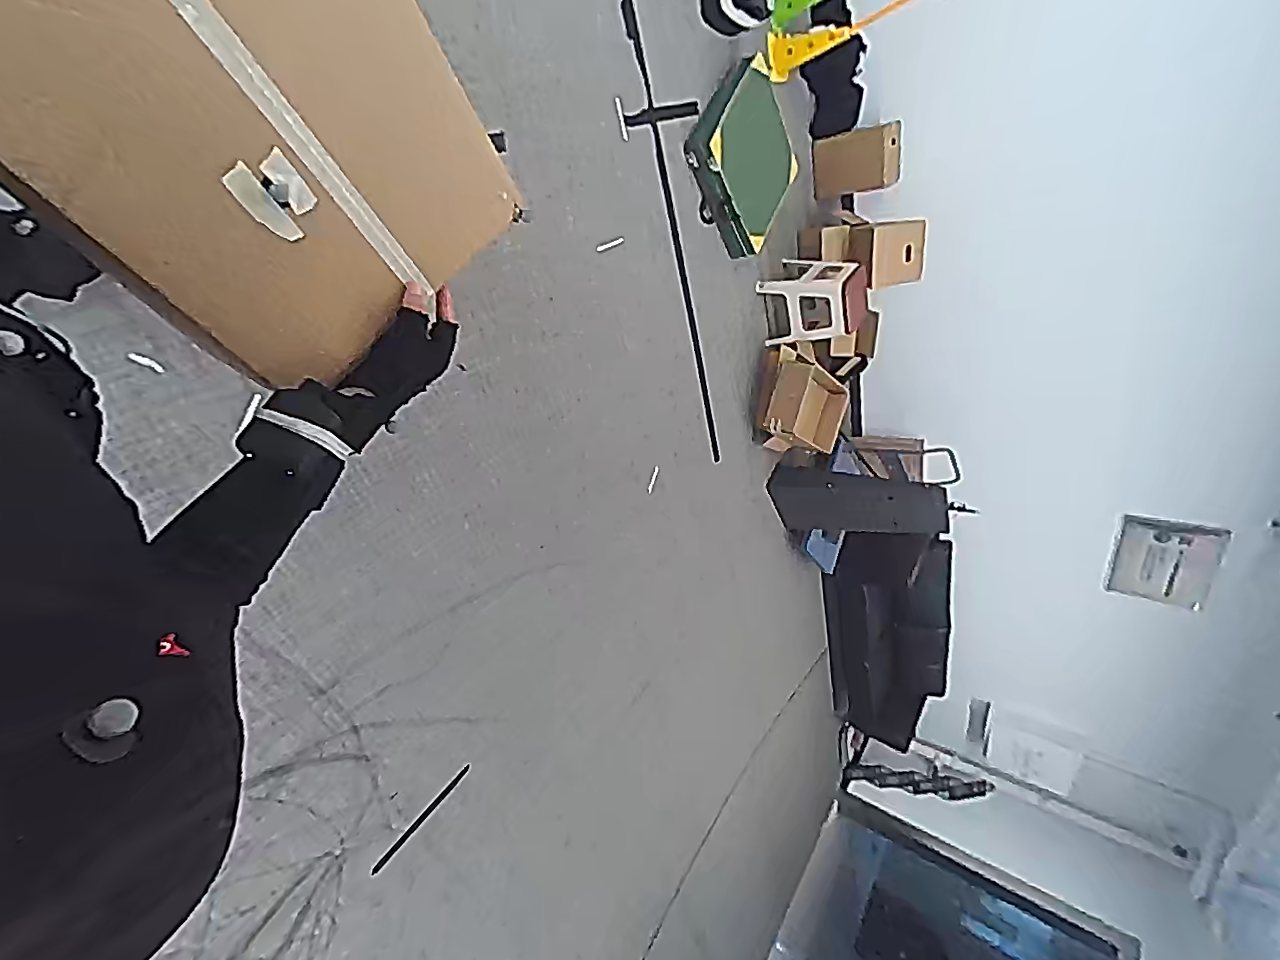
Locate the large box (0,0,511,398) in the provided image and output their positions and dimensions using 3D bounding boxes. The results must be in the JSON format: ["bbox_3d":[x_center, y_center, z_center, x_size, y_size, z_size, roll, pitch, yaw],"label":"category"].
[{"bbox_3d":[-0.408,-0.344,0.490,0.320,0.320,0.408,-53,141,-19],"label":"large box"}]
